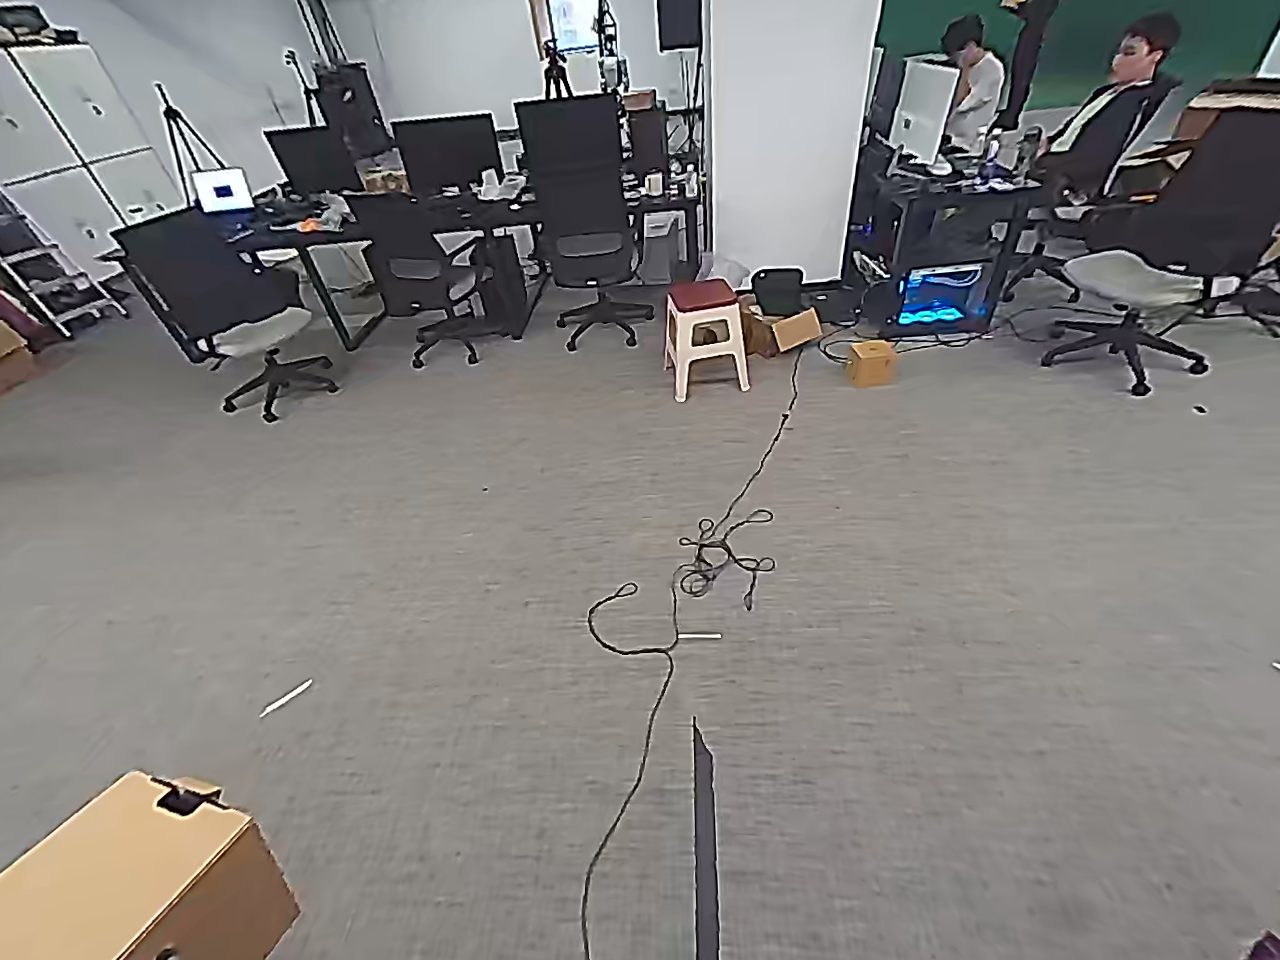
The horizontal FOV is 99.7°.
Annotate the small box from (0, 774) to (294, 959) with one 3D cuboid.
[{"bbox_3d":[-0.463,0.420,0.493,0.168,0.176,0.179,8,27,16],"label":"small box"}]
